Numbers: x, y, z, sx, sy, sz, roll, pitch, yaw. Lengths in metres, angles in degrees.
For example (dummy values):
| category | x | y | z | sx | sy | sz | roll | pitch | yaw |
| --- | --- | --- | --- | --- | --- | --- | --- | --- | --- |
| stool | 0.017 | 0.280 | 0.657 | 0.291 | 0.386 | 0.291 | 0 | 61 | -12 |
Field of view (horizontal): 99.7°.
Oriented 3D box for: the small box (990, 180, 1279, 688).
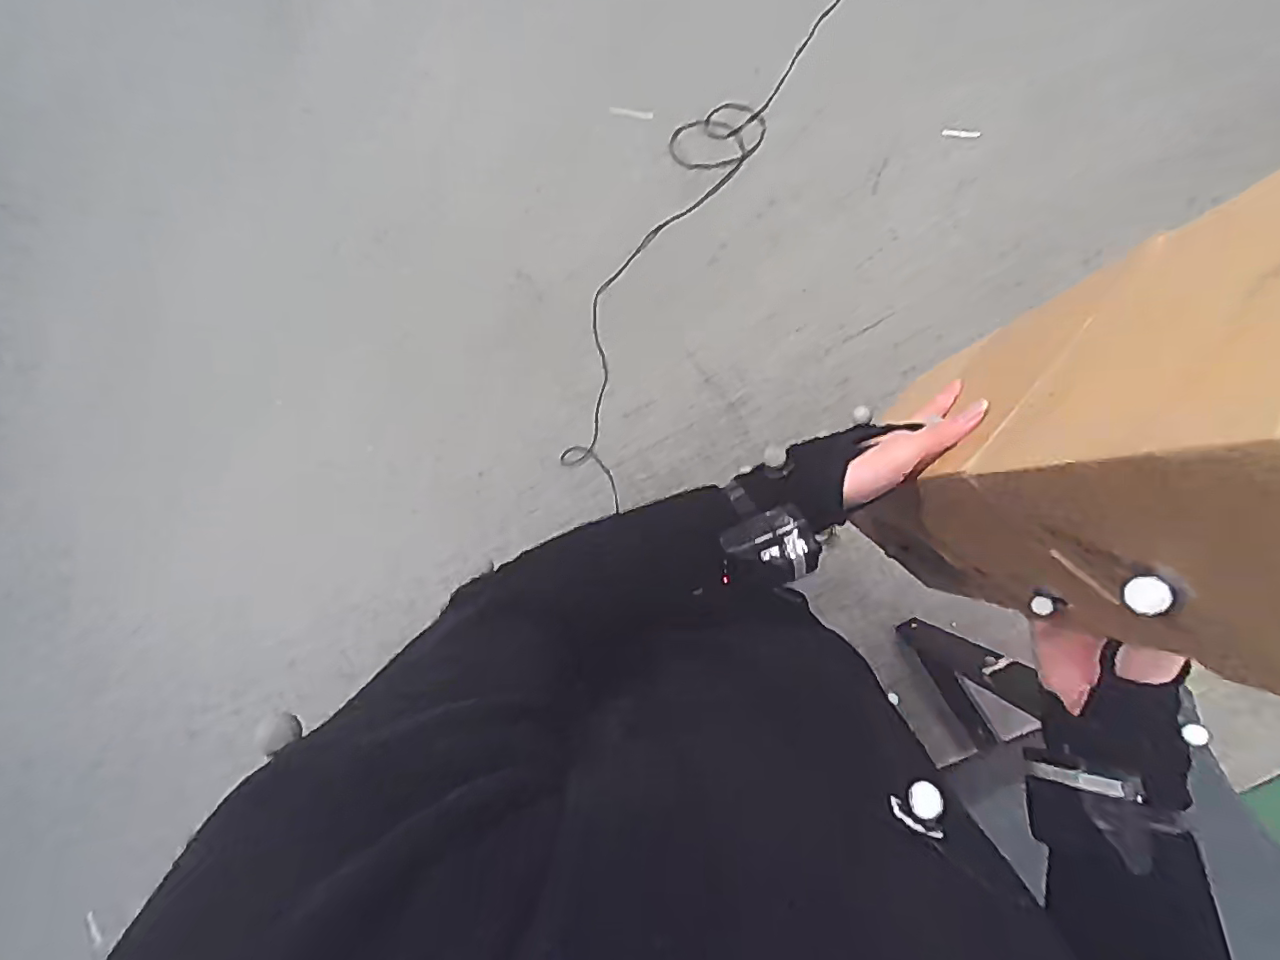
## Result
| category | x | y | z | sx | sy | sz | roll | pitch | yaw |
| --- | --- | --- | --- | --- | --- | --- | --- | --- | --- |
| small box | 0.285 | -0.022 | 0.201 | 0.168 | 0.176 | 0.179 | 40 | 91 | 6 |

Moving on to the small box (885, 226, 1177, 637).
| category | x | y | z | sx | sy | sz | roll | pitch | yaw |
| --- | --- | --- | --- | --- | --- | --- | --- | --- | --- |
| small box | 0.297 | -0.017 | 0.364 | 0.168 | 0.176 | 0.179 | 38 | 89 | 5 |

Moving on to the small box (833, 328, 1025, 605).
| category | x | y | z | sx | sy | sz | roll | pitch | yaw |
| --- | --- | --- | --- | --- | --- | --- | --- | --- | --- |
| small box | 0.313 | -0.007 | 0.526 | 0.168 | 0.176 | 0.179 | 40 | 90 | 6 |
